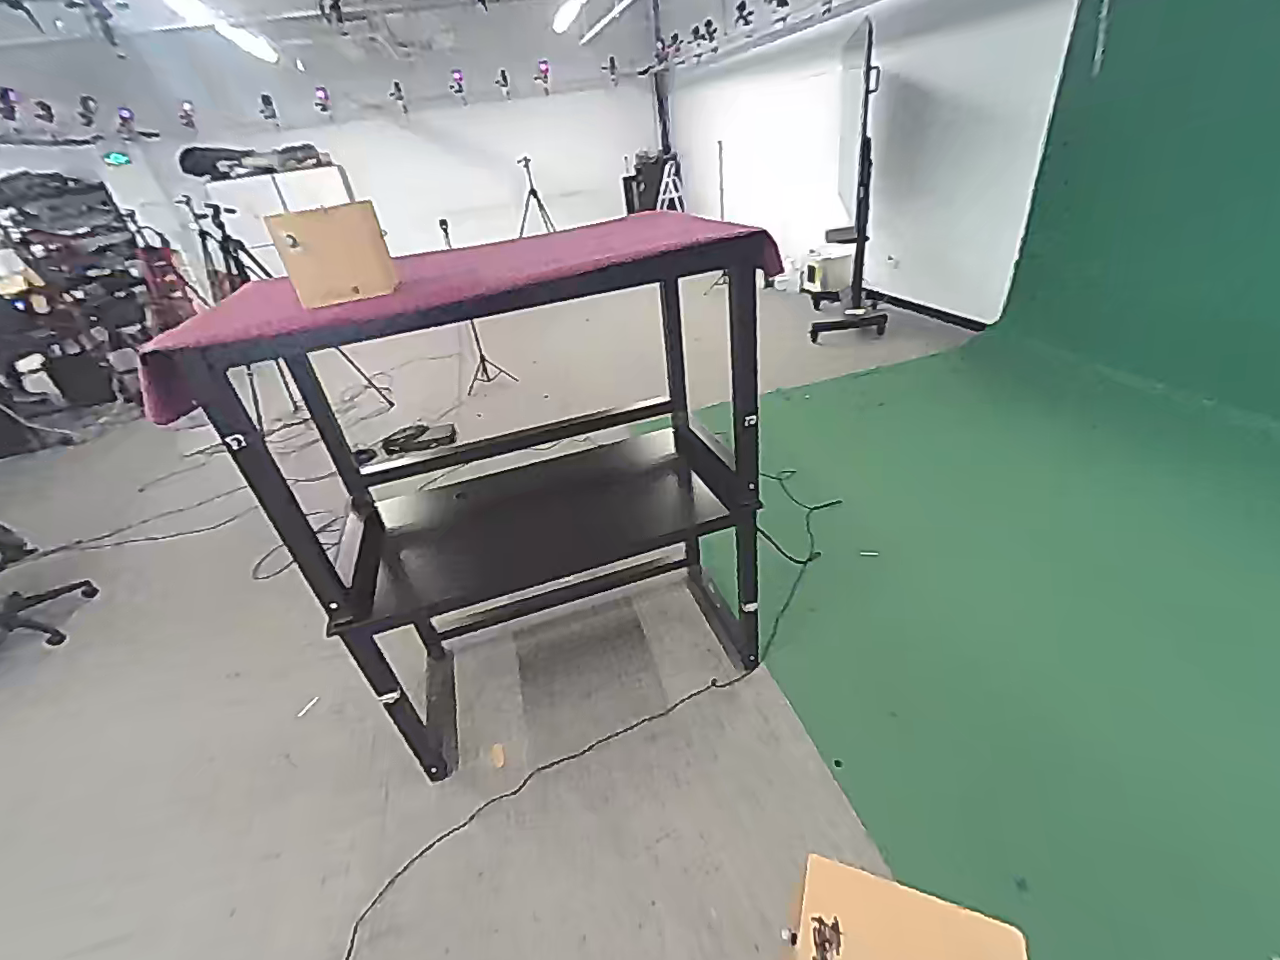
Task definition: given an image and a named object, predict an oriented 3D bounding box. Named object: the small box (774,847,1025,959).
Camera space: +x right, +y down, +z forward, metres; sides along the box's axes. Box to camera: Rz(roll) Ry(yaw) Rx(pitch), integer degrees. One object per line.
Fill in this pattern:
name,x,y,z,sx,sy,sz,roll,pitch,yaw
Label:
small box,0.211,0.464,0.471,0.179,0.176,0.168,11,44,18
